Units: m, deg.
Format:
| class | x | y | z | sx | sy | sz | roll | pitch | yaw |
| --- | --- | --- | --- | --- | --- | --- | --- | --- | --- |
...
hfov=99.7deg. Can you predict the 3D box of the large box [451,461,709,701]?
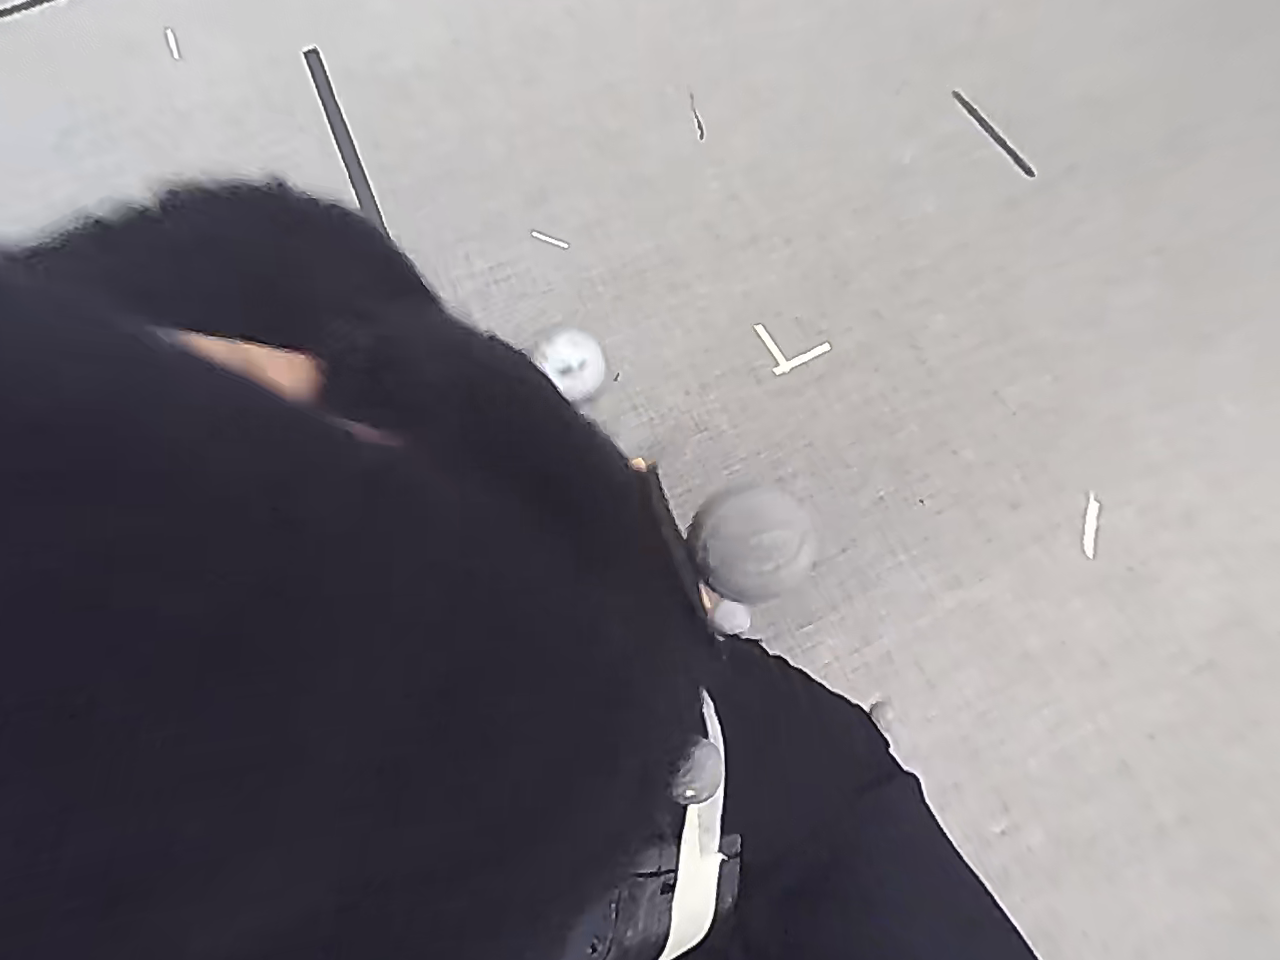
| class | x | y | z | sx | sy | sz | roll | pitch | yaw |
| --- | --- | --- | --- | --- | --- | --- | --- | --- | --- |
| large box | -0.112 | 0.219 | 1.126 | 0.408 | 0.320 | 0.320 | -23 | 74 | -6 |
